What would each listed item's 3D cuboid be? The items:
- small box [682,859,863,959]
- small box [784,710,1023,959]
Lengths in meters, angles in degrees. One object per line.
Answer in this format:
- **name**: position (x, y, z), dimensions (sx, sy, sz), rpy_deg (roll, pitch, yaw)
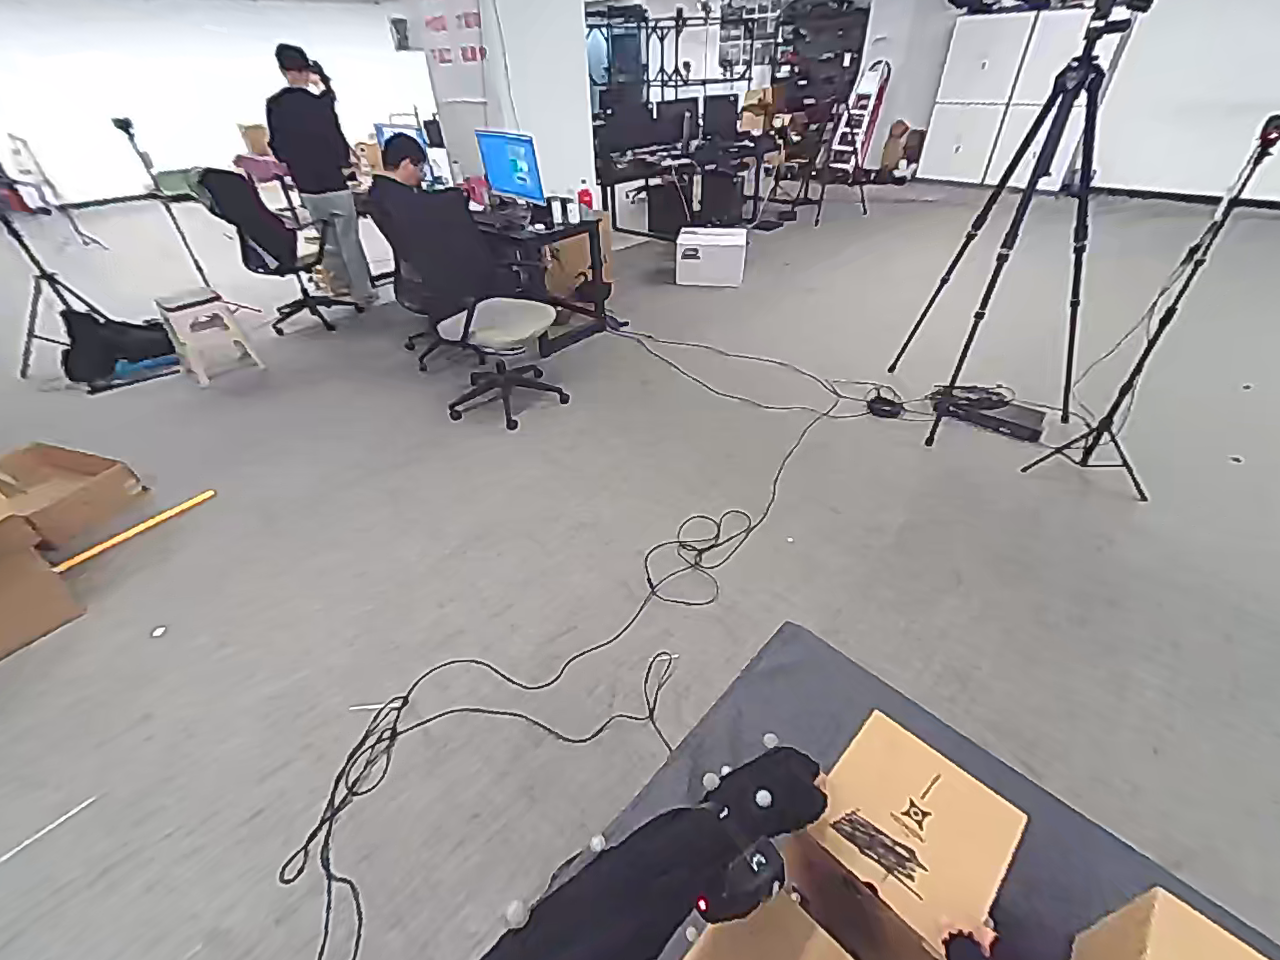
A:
- **small box**: position (0.110, 0.500, 0.481), dimensions (0.168, 0.176, 0.179), rpy_deg (30, 48, 35)
- **small box**: position (0.277, 0.408, 0.599), dimensions (0.179, 0.176, 0.168), rpy_deg (-30, 46, -33)
